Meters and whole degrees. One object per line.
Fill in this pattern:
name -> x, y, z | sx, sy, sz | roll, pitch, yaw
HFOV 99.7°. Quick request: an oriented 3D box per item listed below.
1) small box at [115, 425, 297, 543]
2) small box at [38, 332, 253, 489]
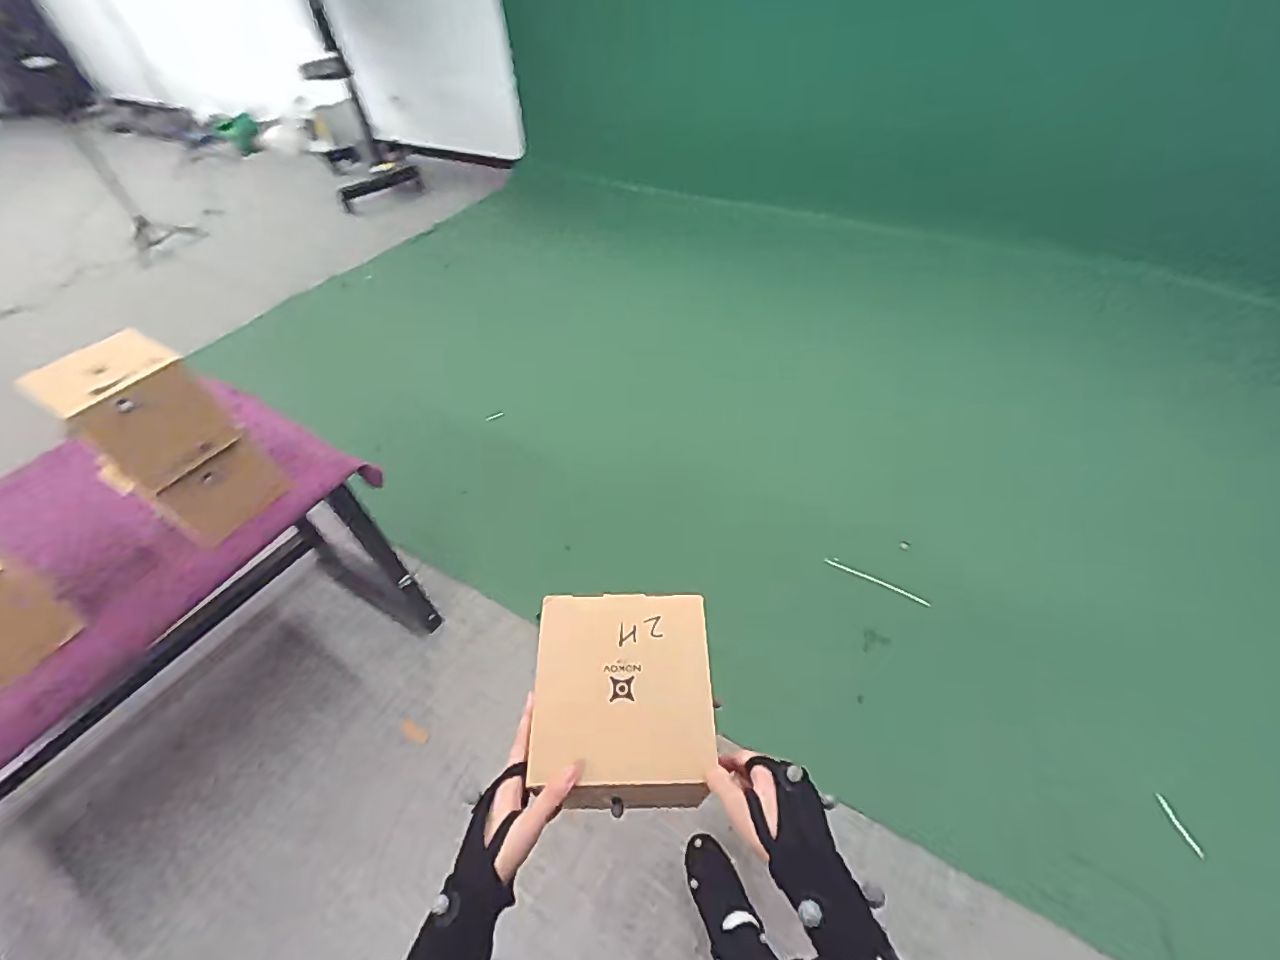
small box -> -0.805, -0.011, 1.021 | 0.168, 0.176, 0.179 | 22, 53, 22
small box -> -0.801, -0.112, 0.892 | 0.179, 0.176, 0.168 | 24, 55, 24
